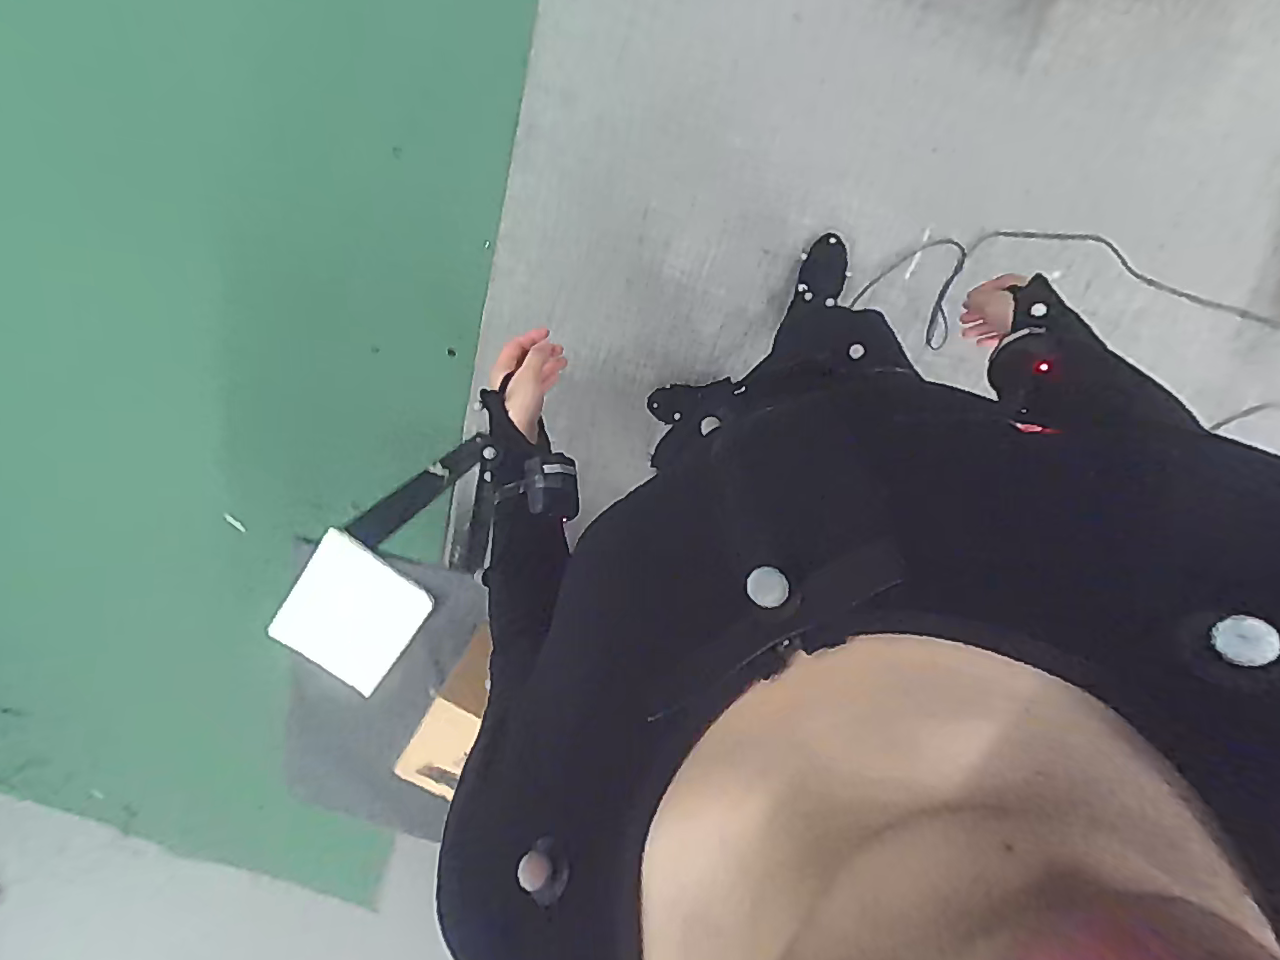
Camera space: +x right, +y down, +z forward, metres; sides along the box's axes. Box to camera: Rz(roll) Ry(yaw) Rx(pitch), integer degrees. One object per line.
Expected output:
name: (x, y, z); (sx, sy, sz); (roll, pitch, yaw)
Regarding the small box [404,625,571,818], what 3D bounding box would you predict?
small box: (-0.223, 0.364, 0.836); (0.168, 0.176, 0.179); (30, 110, -6)
